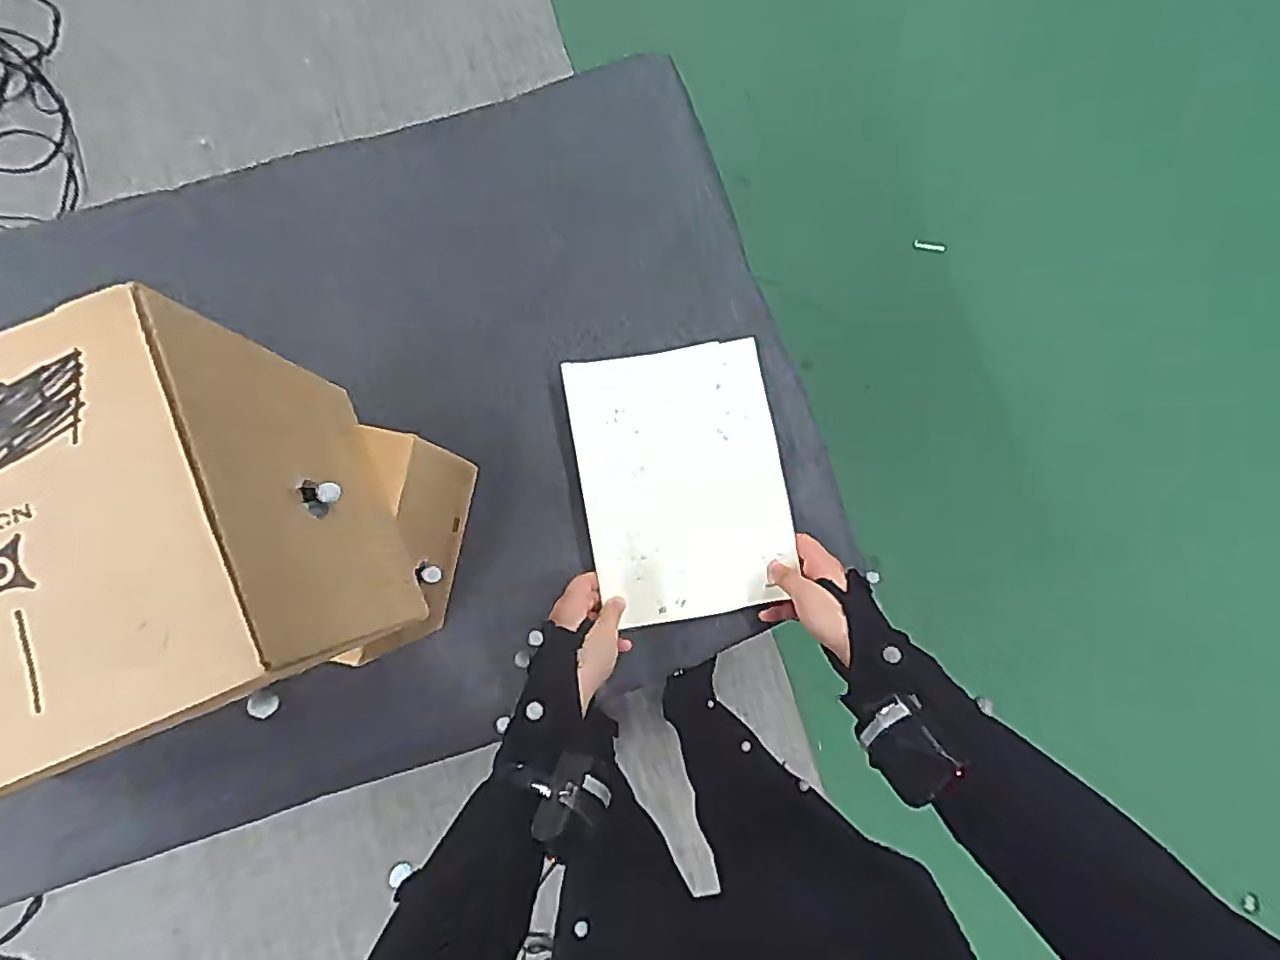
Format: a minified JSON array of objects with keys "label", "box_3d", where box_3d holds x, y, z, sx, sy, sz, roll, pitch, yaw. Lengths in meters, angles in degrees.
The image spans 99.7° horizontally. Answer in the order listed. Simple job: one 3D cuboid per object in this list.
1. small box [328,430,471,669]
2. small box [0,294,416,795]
[{"label":"small box","box_3d":[-0.261,0.042,0.456,0.179,0.176,0.168,11,84,1]},{"label":"small box","box_3d":[-0.253,0.039,0.291,0.168,0.176,0.179,-23,85,-2]}]
